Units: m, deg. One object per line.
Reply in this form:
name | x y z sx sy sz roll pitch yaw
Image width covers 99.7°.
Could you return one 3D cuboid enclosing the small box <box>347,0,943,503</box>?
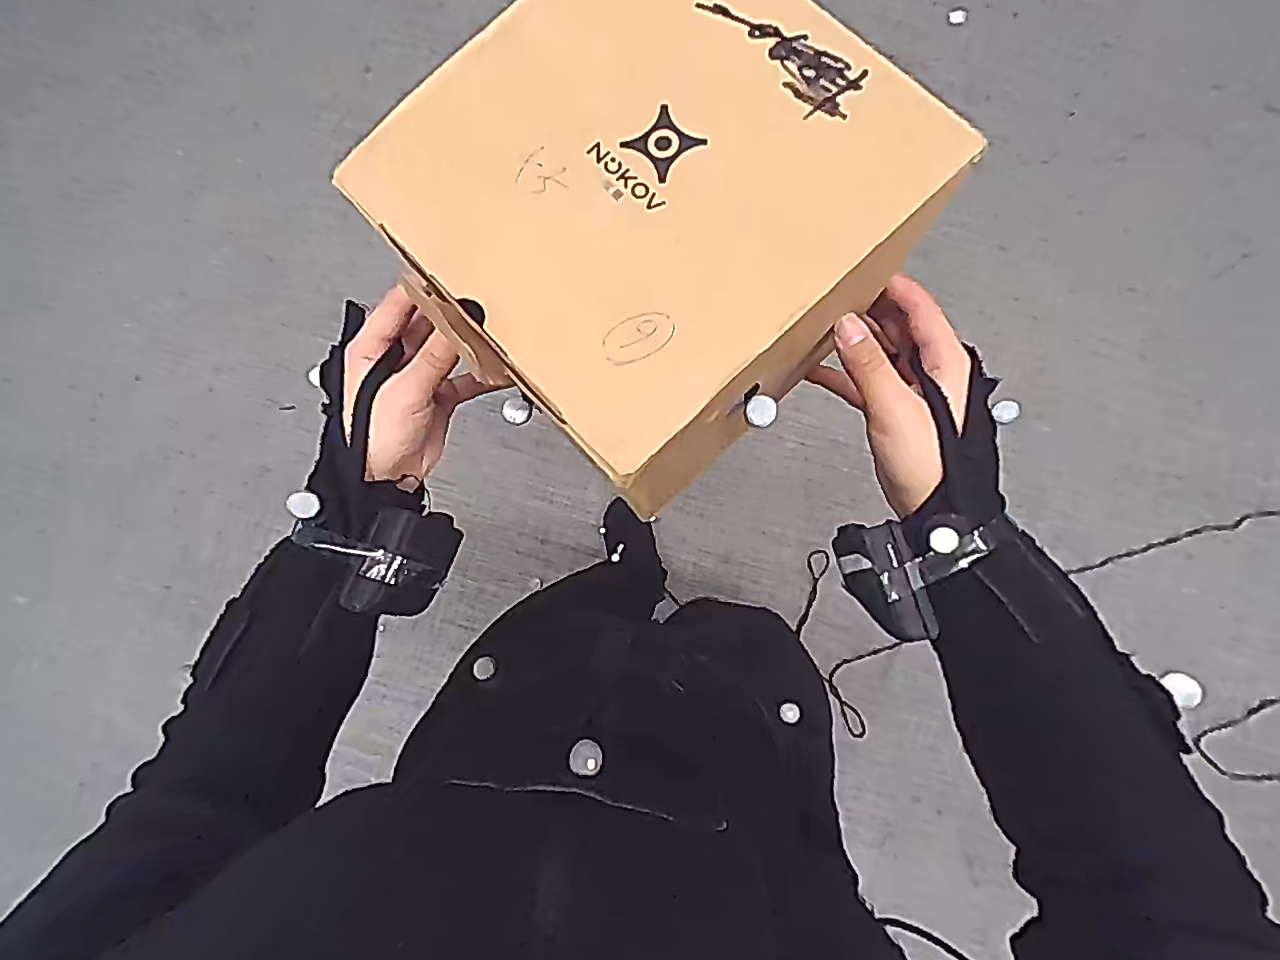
small box | 0.004 -0.104 0.286 0.179 0.176 0.168 -44 81 -2
